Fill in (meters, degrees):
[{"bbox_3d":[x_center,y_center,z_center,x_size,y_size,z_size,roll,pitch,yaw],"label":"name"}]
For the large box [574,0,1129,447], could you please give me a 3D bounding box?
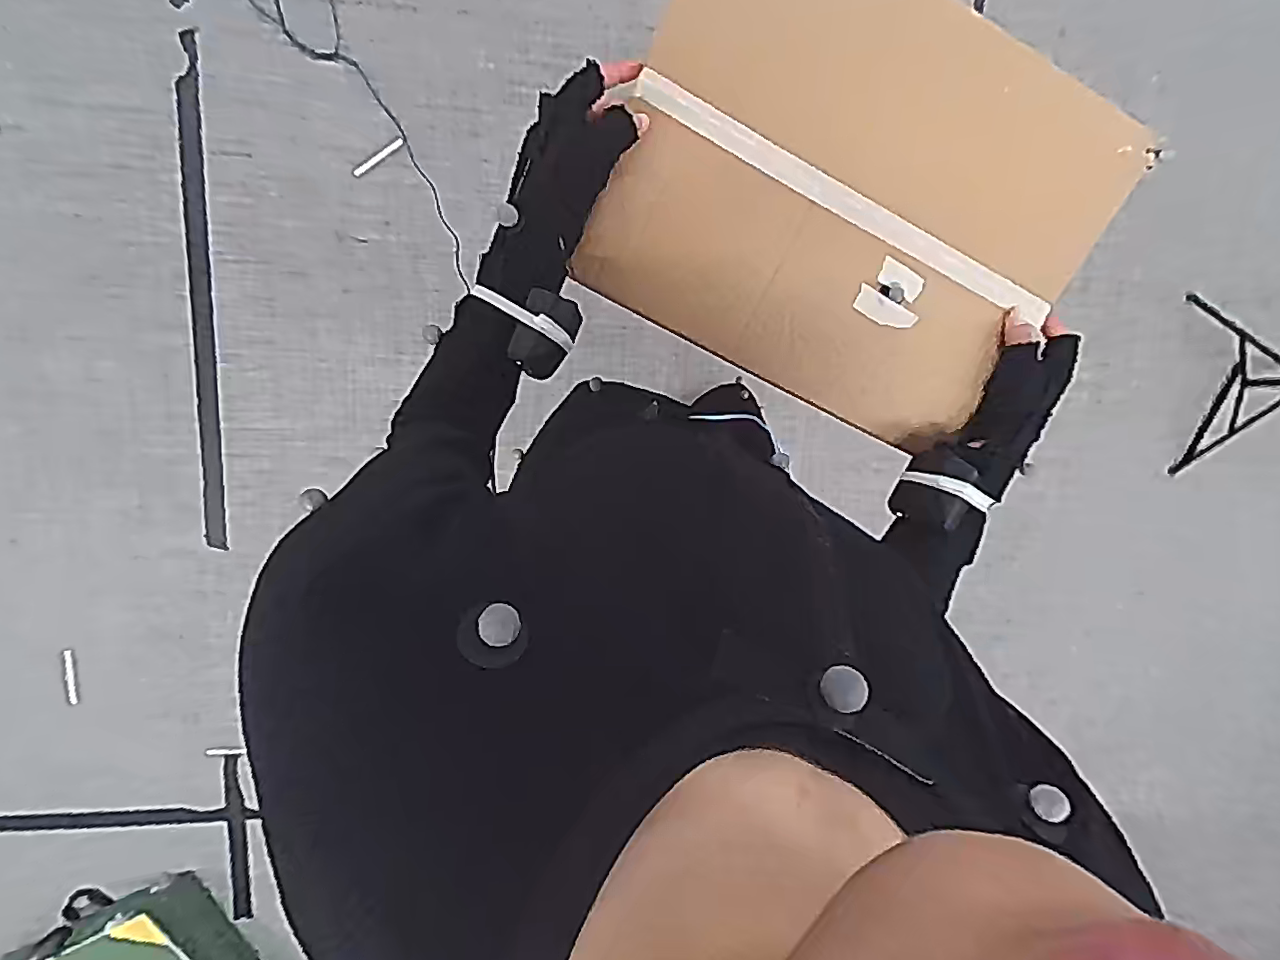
[{"bbox_3d":[0.175,-0.287,0.615,0.408,0.320,0.320,25,107,-10],"label":"large box"}]
